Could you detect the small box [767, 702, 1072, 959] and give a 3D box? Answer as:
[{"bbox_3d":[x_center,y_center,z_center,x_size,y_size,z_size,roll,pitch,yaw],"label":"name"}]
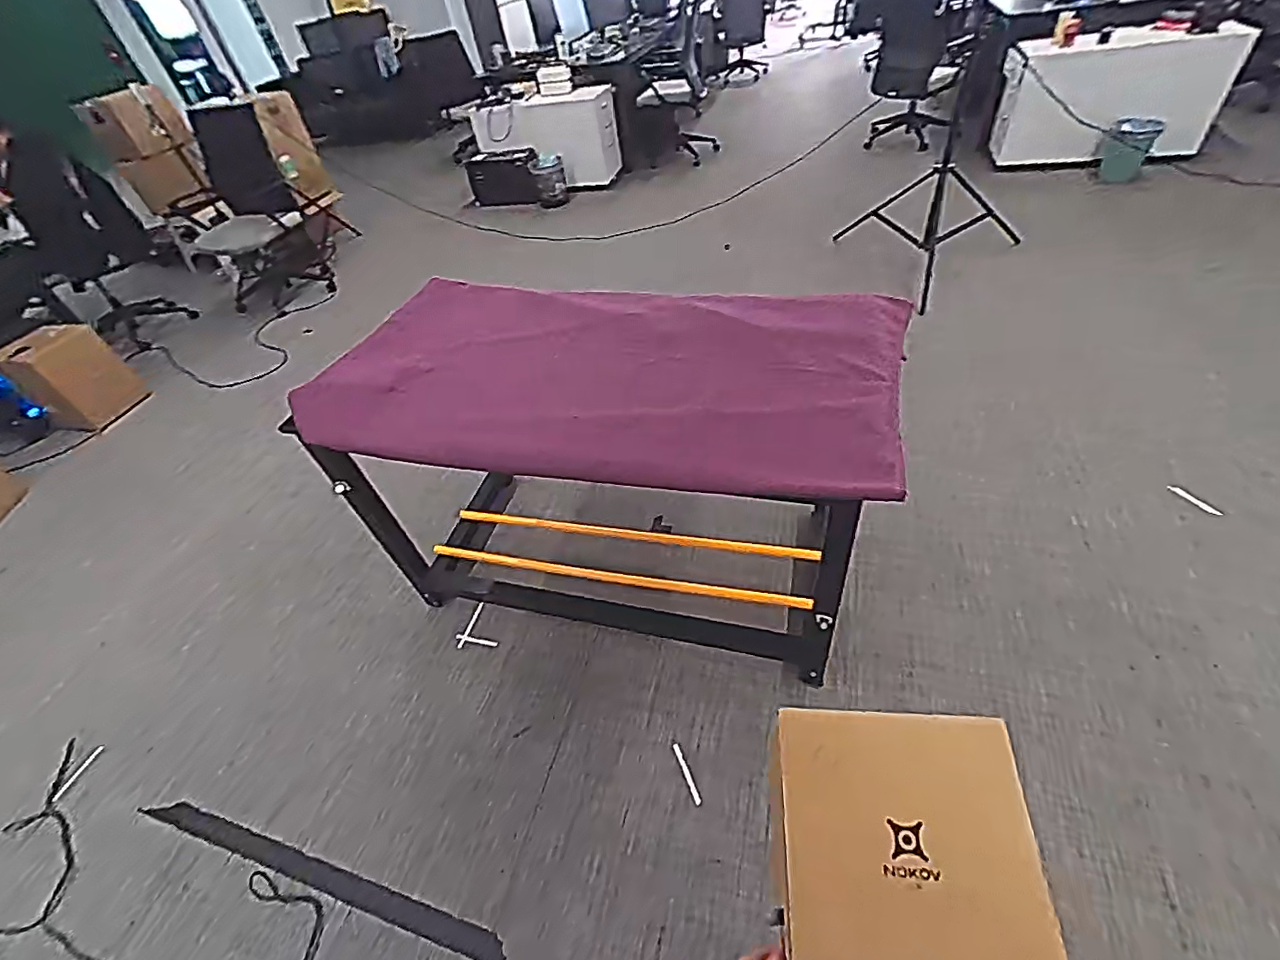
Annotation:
[{"bbox_3d":[0.191,0.289,0.427,0.168,0.176,0.179,-2,56,9],"label":"small box"}]
